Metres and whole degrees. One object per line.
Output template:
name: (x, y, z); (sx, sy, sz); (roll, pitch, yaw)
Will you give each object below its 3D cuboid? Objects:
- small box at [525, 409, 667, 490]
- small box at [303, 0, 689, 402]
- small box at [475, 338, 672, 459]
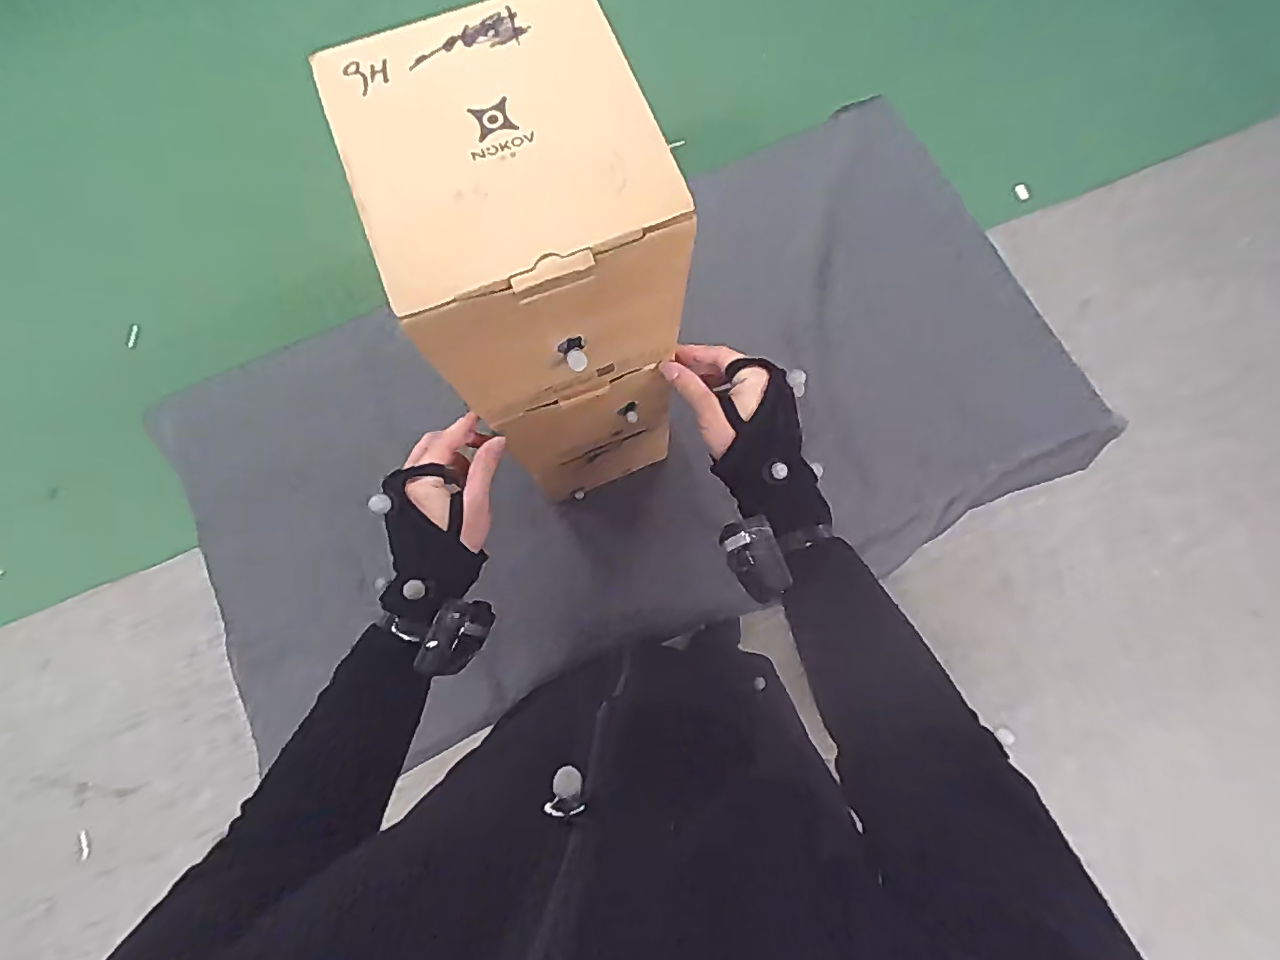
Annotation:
small box: (-0.072, -0.098, 0.682); (0.168, 0.176, 0.179); (-23, 78, -3)
small box: (-0.079, -0.168, 0.364); (0.168, 0.176, 0.179); (-21, 80, -5)
small box: (-0.077, -0.132, 0.525); (0.168, 0.176, 0.179); (-22, 78, -5)
